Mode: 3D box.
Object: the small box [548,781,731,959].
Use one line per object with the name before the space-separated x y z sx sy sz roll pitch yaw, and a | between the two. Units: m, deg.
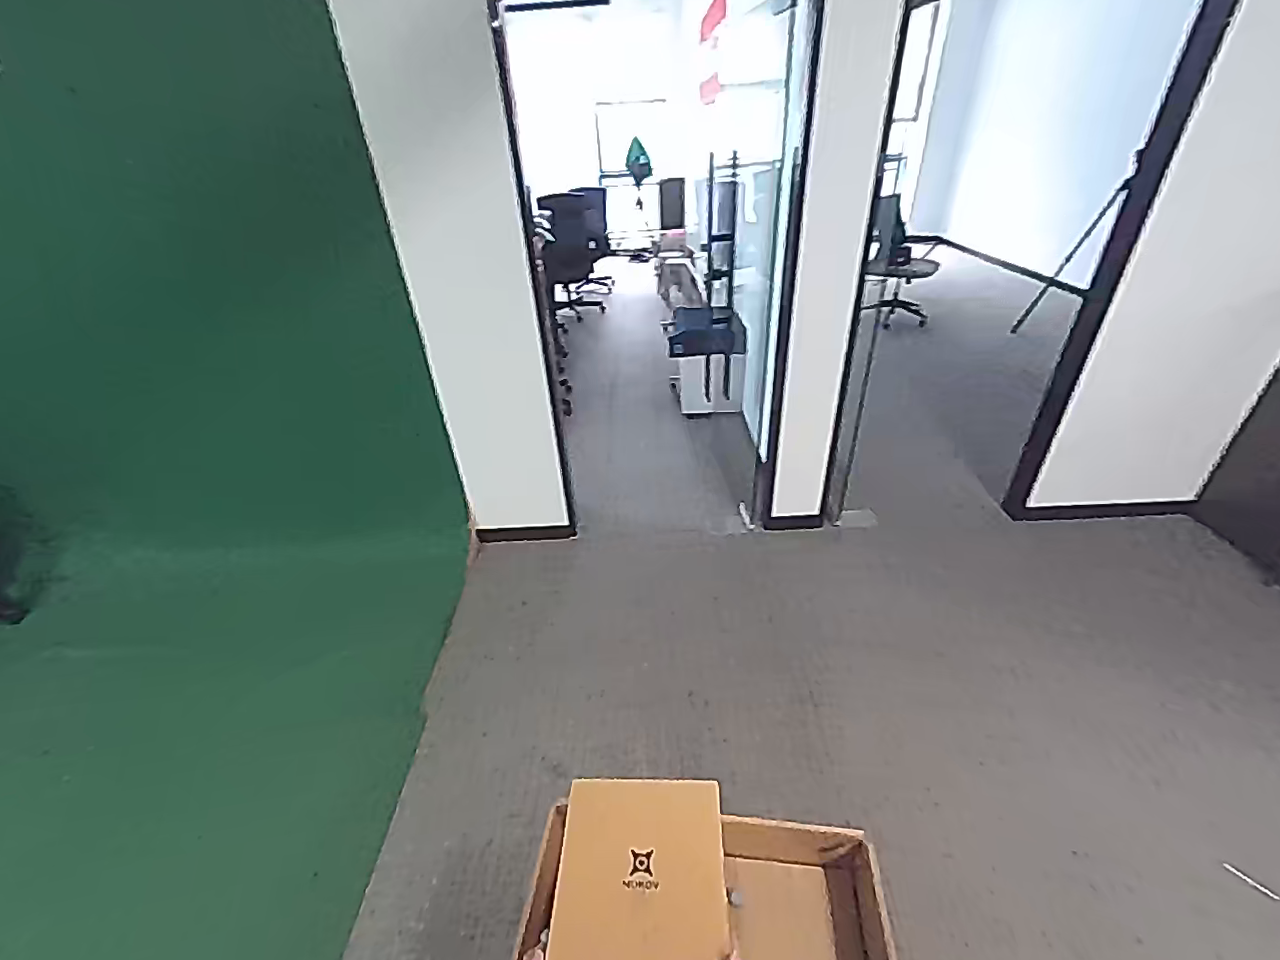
small box | 0.003 0.453 0.577 0.168 0.176 0.179 0 35 2
